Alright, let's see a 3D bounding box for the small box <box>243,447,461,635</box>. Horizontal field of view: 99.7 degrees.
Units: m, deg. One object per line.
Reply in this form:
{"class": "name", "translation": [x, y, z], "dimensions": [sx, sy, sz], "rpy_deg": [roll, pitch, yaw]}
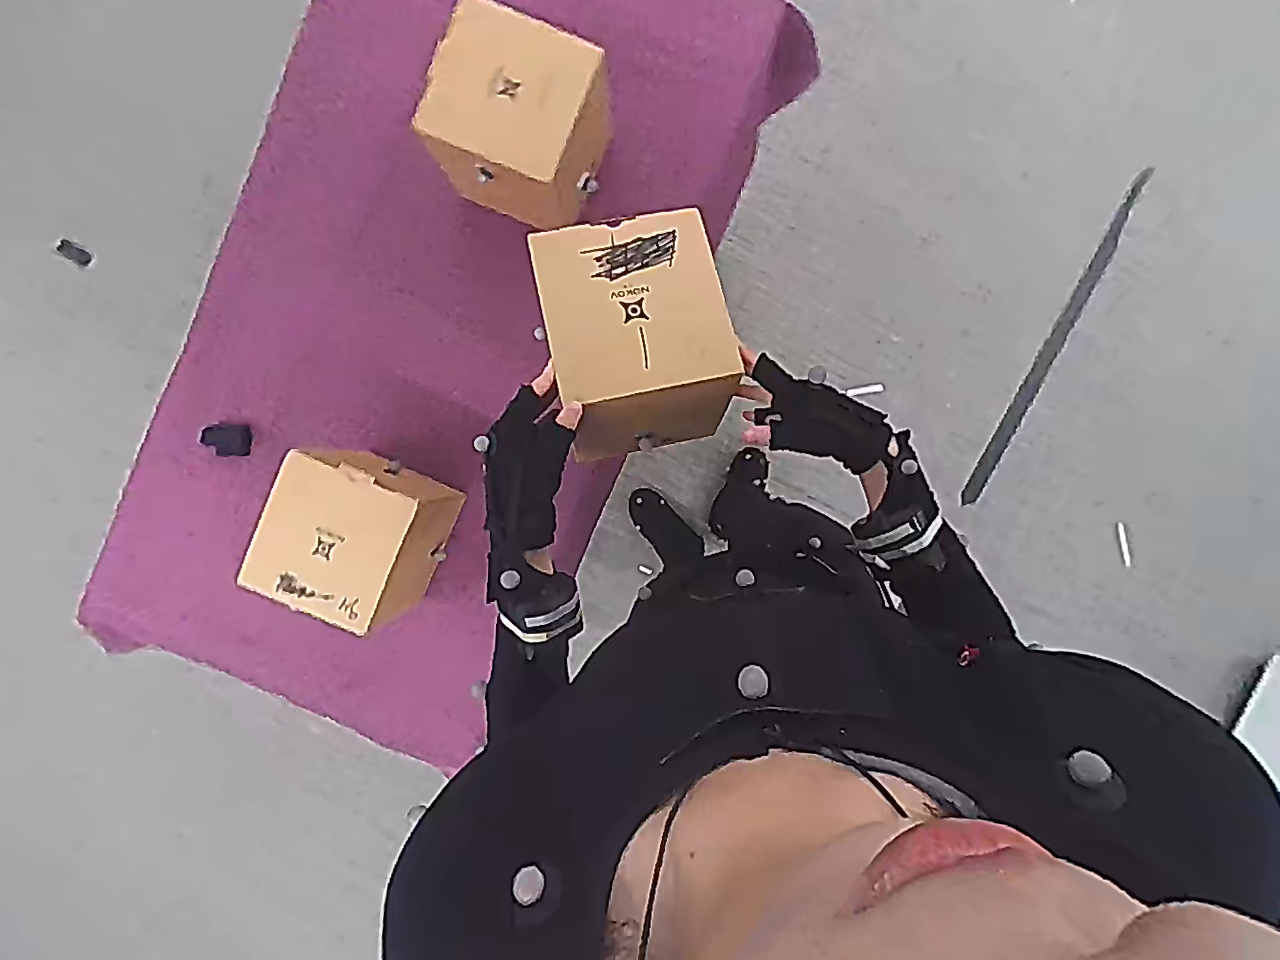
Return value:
{"class": "small box", "translation": [-0.356, 0.070, 0.709], "dimensions": [0.168, 0.176, 0.179], "rpy_deg": [23, 91, 0]}

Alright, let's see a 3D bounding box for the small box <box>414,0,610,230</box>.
{"class": "small box", "translation": [-0.150, -0.452, 0.698], "dimensions": [0.179, 0.176, 0.168], "rpy_deg": [22, 93, 0]}

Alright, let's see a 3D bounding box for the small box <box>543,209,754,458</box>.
{"class": "small box", "translation": [0.001, -0.141, 0.562], "dimensions": [0.168, 0.176, 0.179], "rpy_deg": [-11, 75, -5]}
